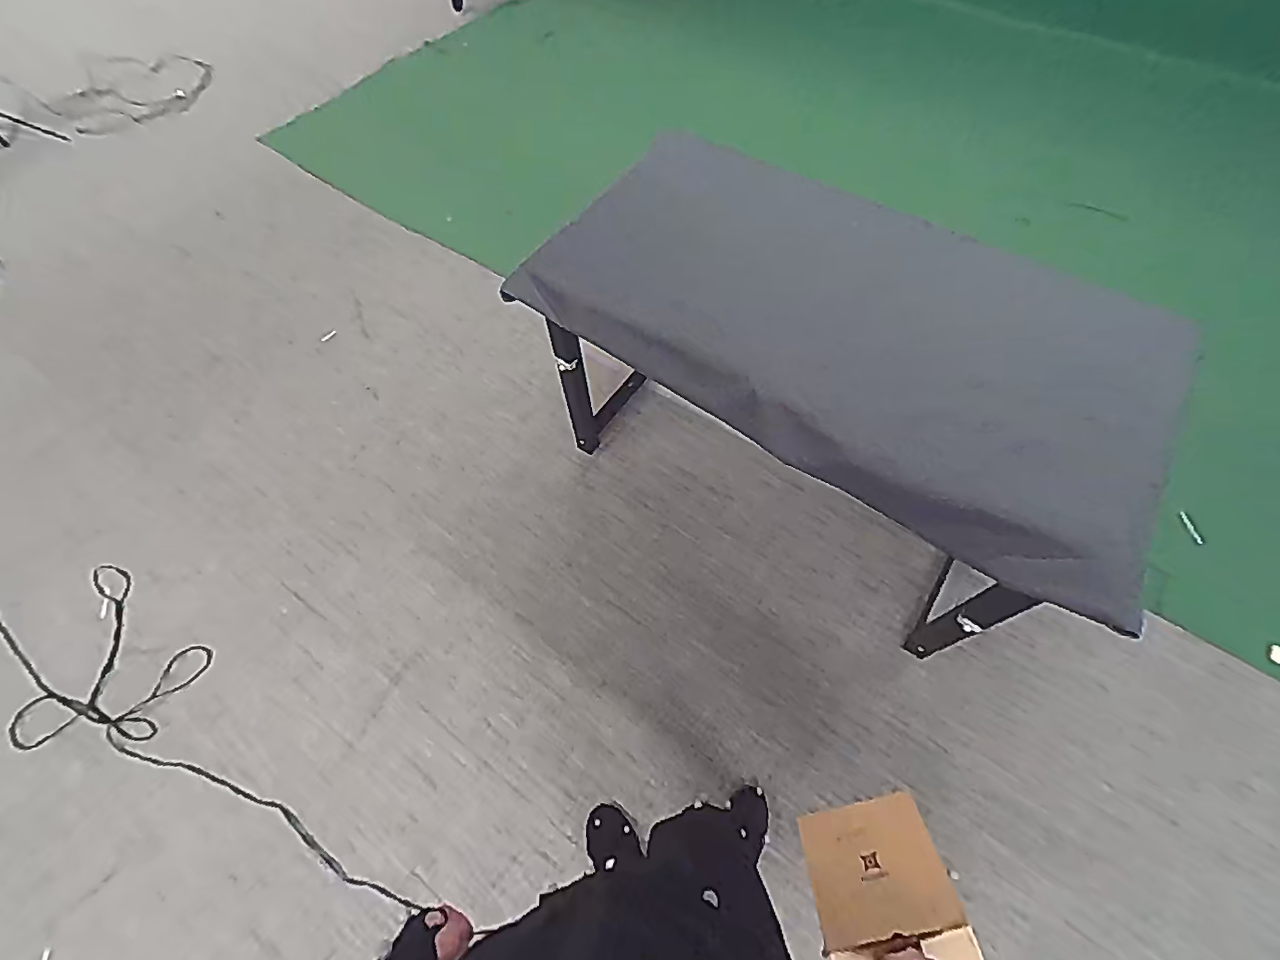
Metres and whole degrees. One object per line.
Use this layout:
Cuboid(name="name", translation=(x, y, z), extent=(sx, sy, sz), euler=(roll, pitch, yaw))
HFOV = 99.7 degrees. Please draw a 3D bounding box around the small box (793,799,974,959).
Cuboid(name="small box", translation=(0.319, 0.570, 0.708), extent=(0.168, 0.179, 0.176), euler=(-19, 105, 9))
